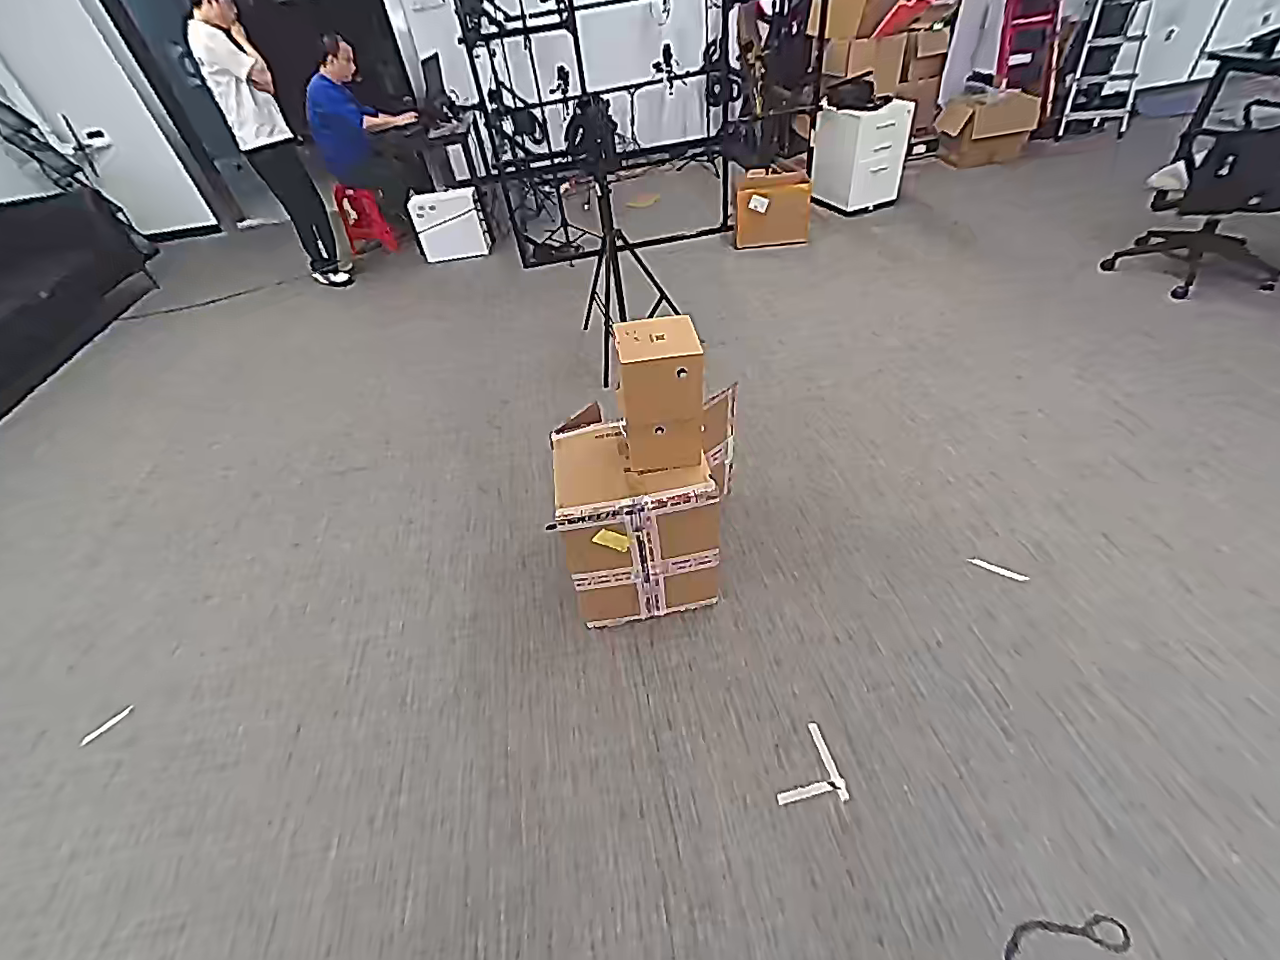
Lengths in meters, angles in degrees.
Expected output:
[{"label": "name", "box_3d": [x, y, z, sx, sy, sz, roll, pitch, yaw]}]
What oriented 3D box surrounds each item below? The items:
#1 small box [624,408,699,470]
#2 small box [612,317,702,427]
[{"label": "small box", "box_3d": [0.050, -0.140, 1.338, 0.179, 0.176, 0.168, -6, 45, 0]}, {"label": "small box", "box_3d": [0.036, -0.239, 1.205, 0.179, 0.176, 0.168, -8, 44, -2]}]
